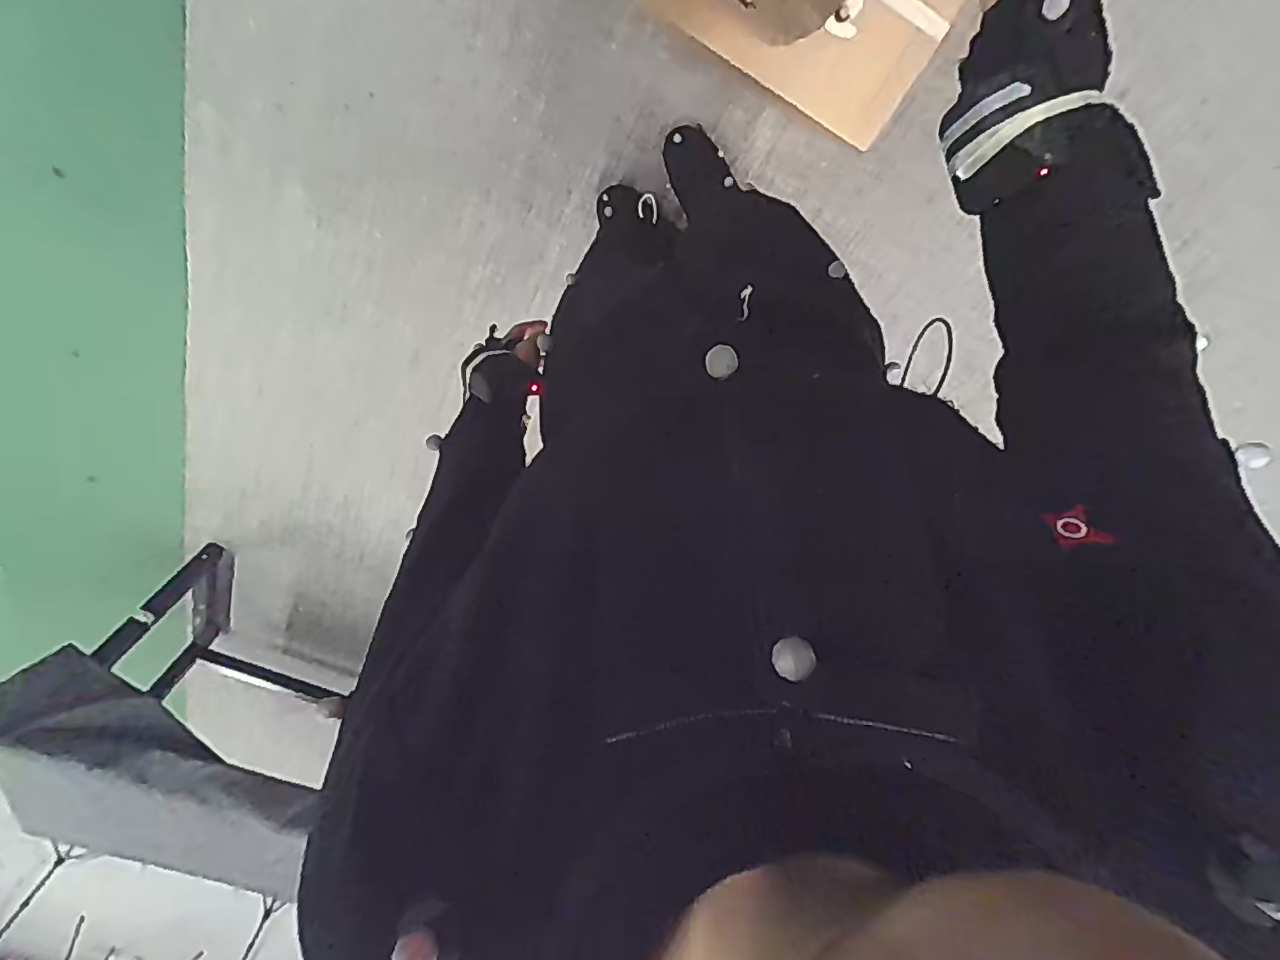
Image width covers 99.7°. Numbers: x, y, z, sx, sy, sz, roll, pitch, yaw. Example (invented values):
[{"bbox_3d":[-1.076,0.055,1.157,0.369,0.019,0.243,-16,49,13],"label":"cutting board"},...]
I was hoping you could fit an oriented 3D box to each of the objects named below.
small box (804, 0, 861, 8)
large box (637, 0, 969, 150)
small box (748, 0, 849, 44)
[{"bbox_3d":[0.134,-0.448,0.341,0.179,0.176,0.168,34,121,-17],"label":"small box"},{"bbox_3d":[0.244,-0.764,0.805,0.408,0.320,0.320,24,125,-13],"label":"large box"},{"bbox_3d":[0.158,-0.535,0.476,0.168,0.176,0.179,37,121,-20],"label":"small box"}]
